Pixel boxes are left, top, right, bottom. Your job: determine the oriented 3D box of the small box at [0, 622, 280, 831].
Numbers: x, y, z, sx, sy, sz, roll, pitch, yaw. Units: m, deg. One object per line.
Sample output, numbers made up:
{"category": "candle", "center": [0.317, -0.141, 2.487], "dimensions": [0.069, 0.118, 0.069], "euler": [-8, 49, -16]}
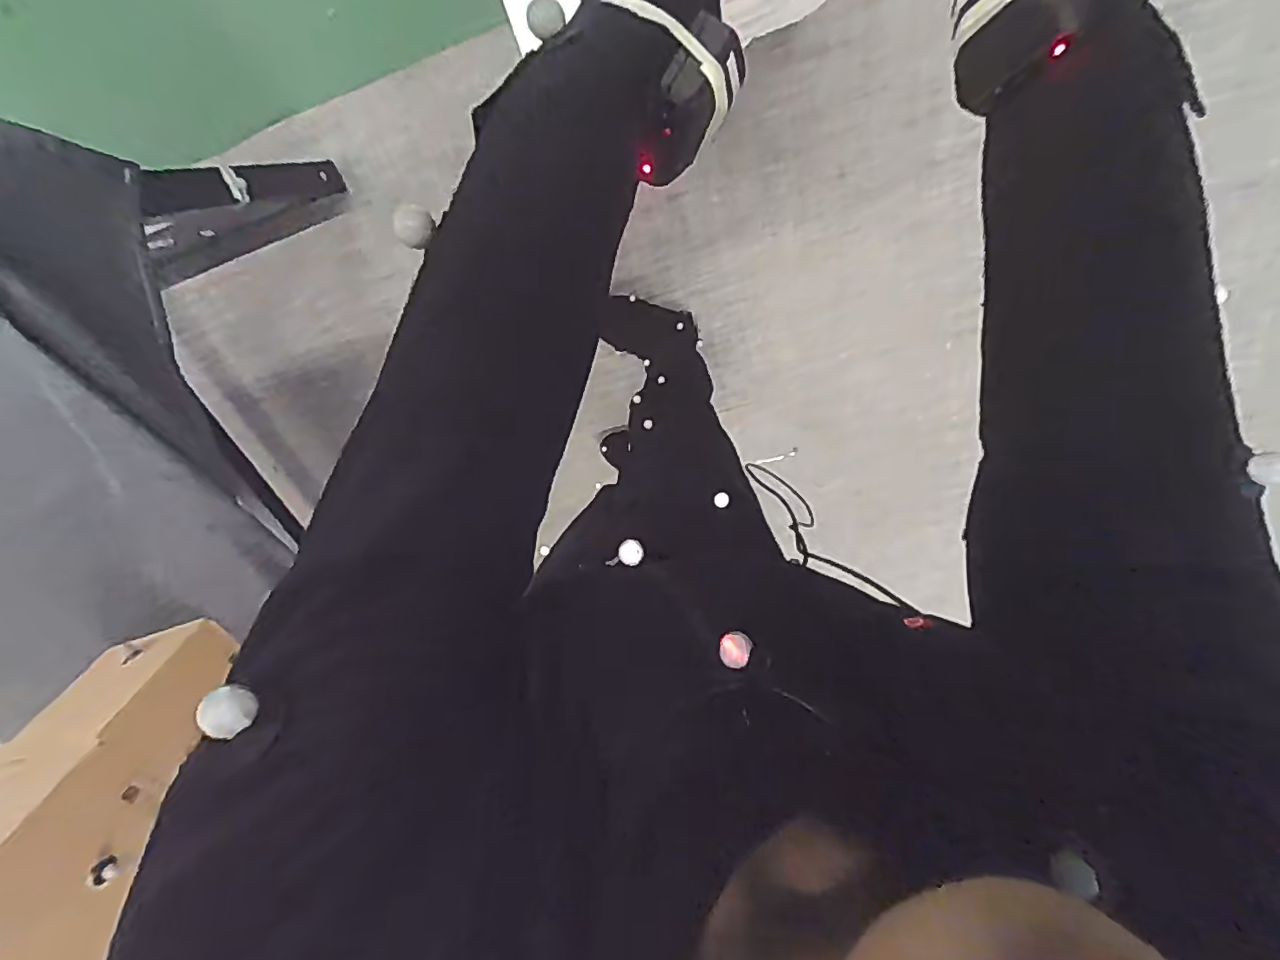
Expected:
{"category": "small box", "center": [-0.591, 0.299, 0.647], "dimensions": [0.179, 0.176, 0.168], "euler": [-18, 120, 12]}
